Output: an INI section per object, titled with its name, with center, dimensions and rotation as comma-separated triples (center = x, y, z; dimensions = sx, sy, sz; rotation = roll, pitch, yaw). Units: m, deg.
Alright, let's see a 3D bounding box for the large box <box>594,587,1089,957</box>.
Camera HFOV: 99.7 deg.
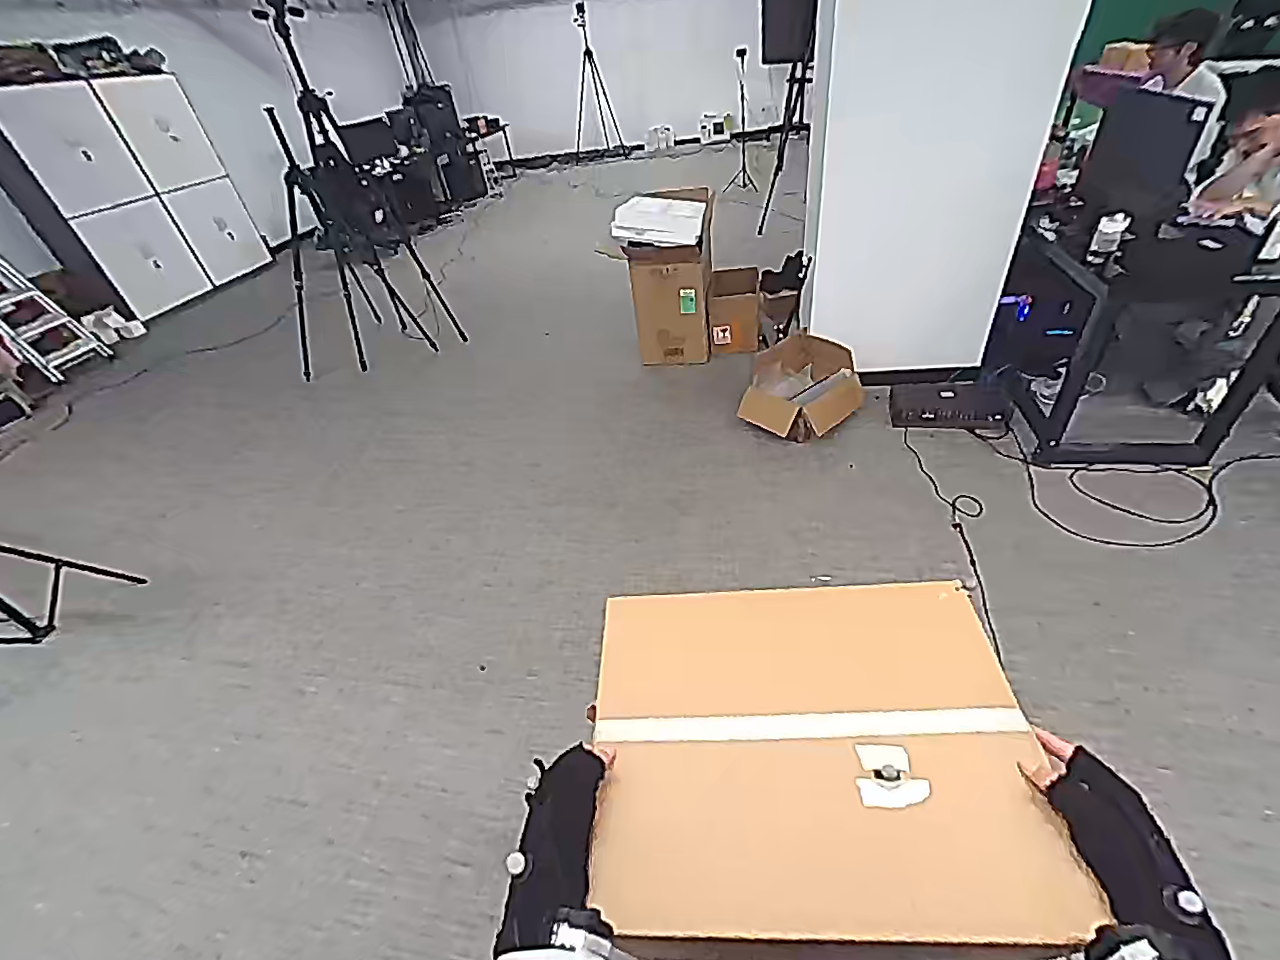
[large box]
center = 0.175, 0.352, 0.646
dimensions = 0.408, 0.320, 0.320
rotation = -4, 46, 6
